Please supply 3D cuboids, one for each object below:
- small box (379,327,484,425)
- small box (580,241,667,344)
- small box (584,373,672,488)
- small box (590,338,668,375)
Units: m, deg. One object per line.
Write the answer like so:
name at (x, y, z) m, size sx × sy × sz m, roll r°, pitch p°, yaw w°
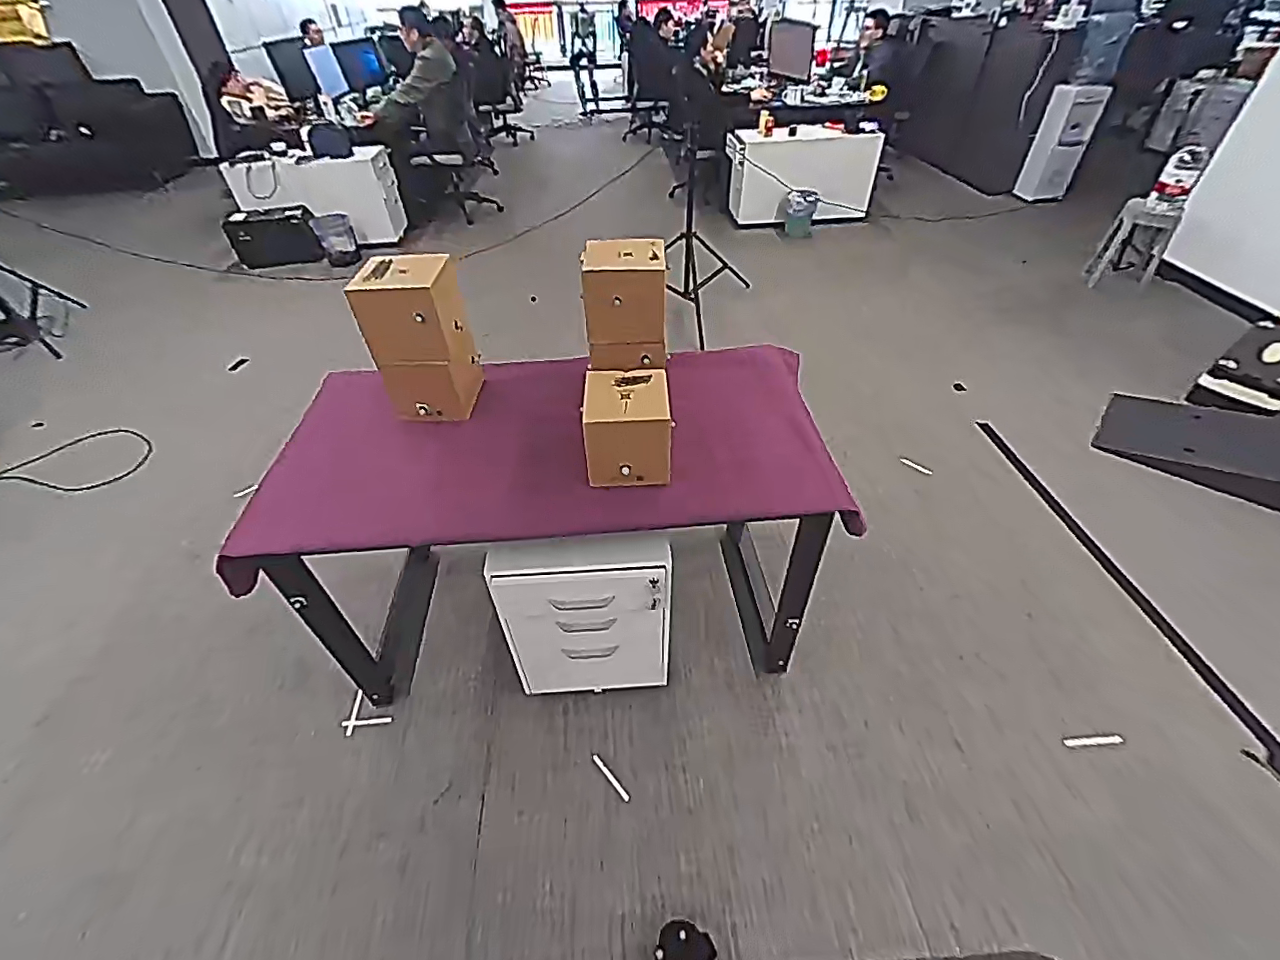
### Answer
small box at (-0.486, -0.249, 1.293) m, size 0.168 × 0.176 × 0.179 m, roll -1°, pitch 45°, yaw 3°
small box at (-0.030, -0.416, 1.210) m, size 0.179 × 0.176 × 0.168 m, roll -1°, pitch 44°, yaw 2°
small box at (-0.022, -0.102, 1.114) m, size 0.168 × 0.176 × 0.179 m, roll -2°, pitch 42°, yaw 1°
small box at (-0.024, -0.296, 1.322) m, size 0.179 × 0.176 × 0.168 m, roll -2°, pitch 44°, yaw 1°
